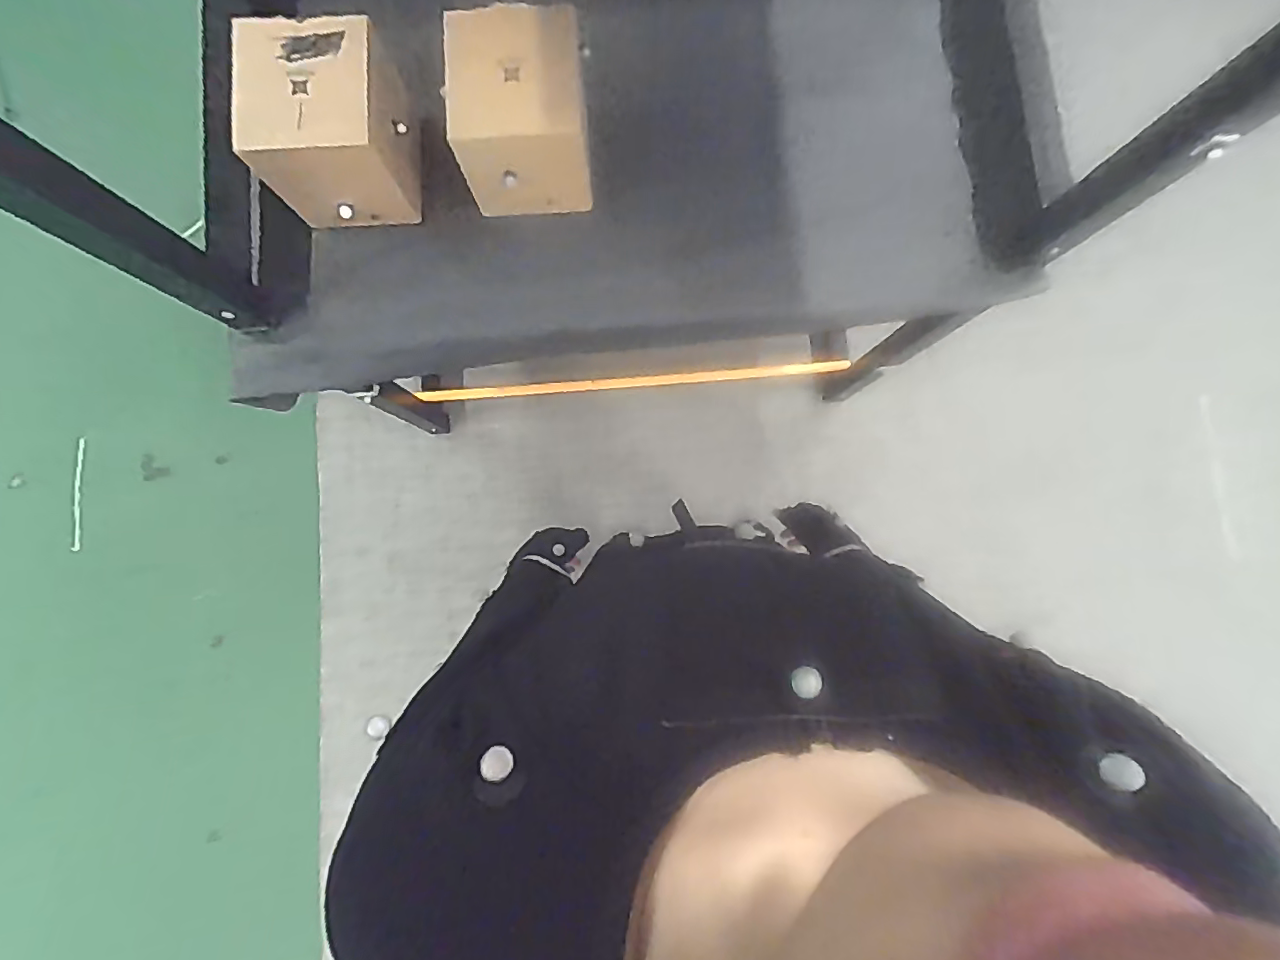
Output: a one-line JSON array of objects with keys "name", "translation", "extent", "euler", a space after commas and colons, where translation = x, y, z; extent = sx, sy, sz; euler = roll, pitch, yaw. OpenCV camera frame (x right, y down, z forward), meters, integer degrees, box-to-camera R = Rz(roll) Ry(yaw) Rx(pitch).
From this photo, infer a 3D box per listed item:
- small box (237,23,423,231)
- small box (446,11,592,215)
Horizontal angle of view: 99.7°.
[{"name": "small box", "translation": [-0.411, -0.472, 0.743], "extent": [0.168, 0.176, 0.179], "euler": [-4, 84, -1]}, {"name": "small box", "translation": [-0.158, -0.491, 0.750], "extent": [0.168, 0.176, 0.179], "euler": [-4, 84, -1]}]
